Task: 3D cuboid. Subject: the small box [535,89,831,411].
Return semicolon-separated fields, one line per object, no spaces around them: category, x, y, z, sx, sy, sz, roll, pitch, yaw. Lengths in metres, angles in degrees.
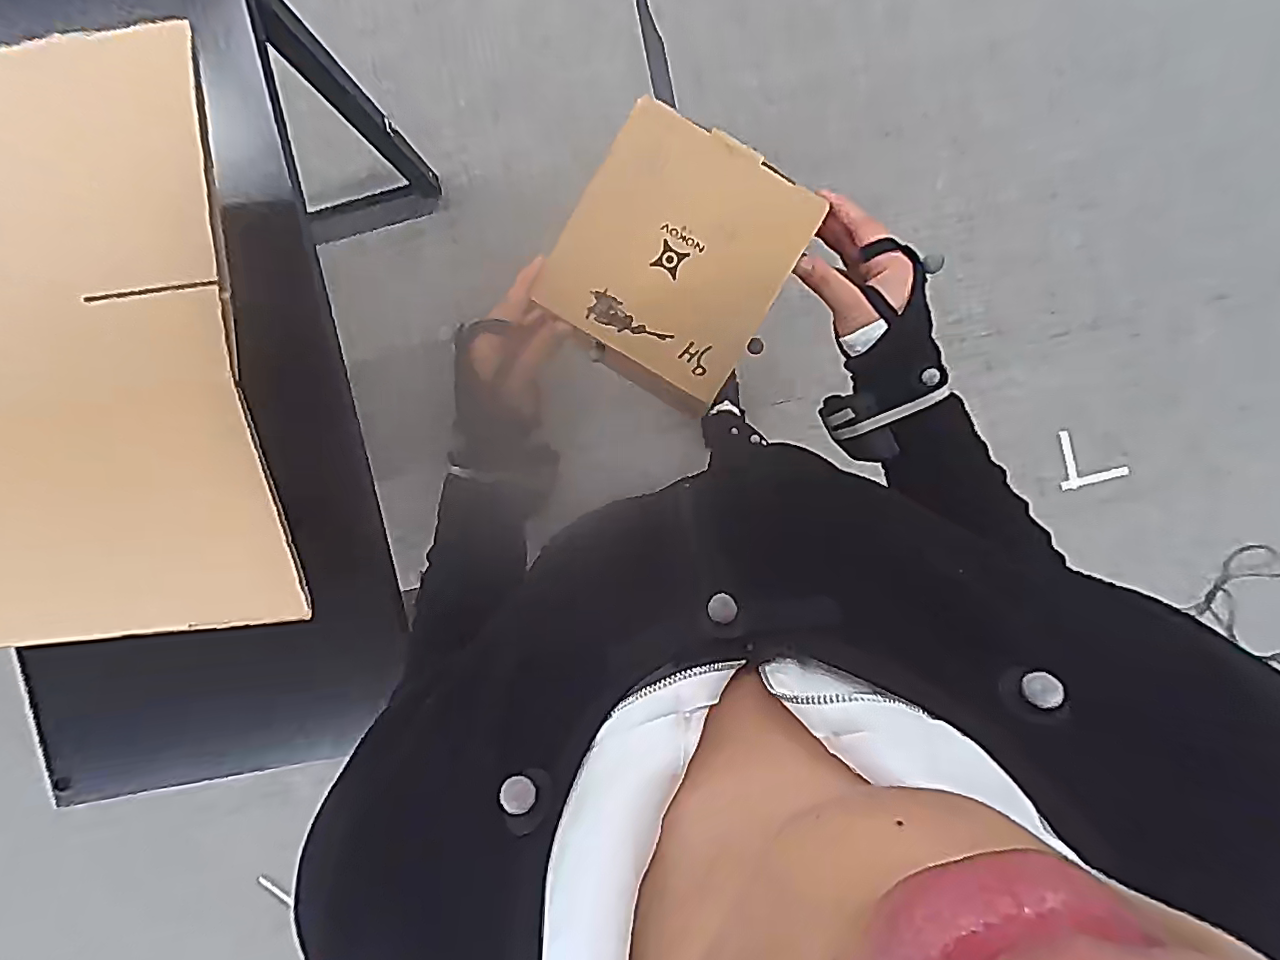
small box;0.034;-0.181;0.485;0.168;0.176;0.179;32;93;3
